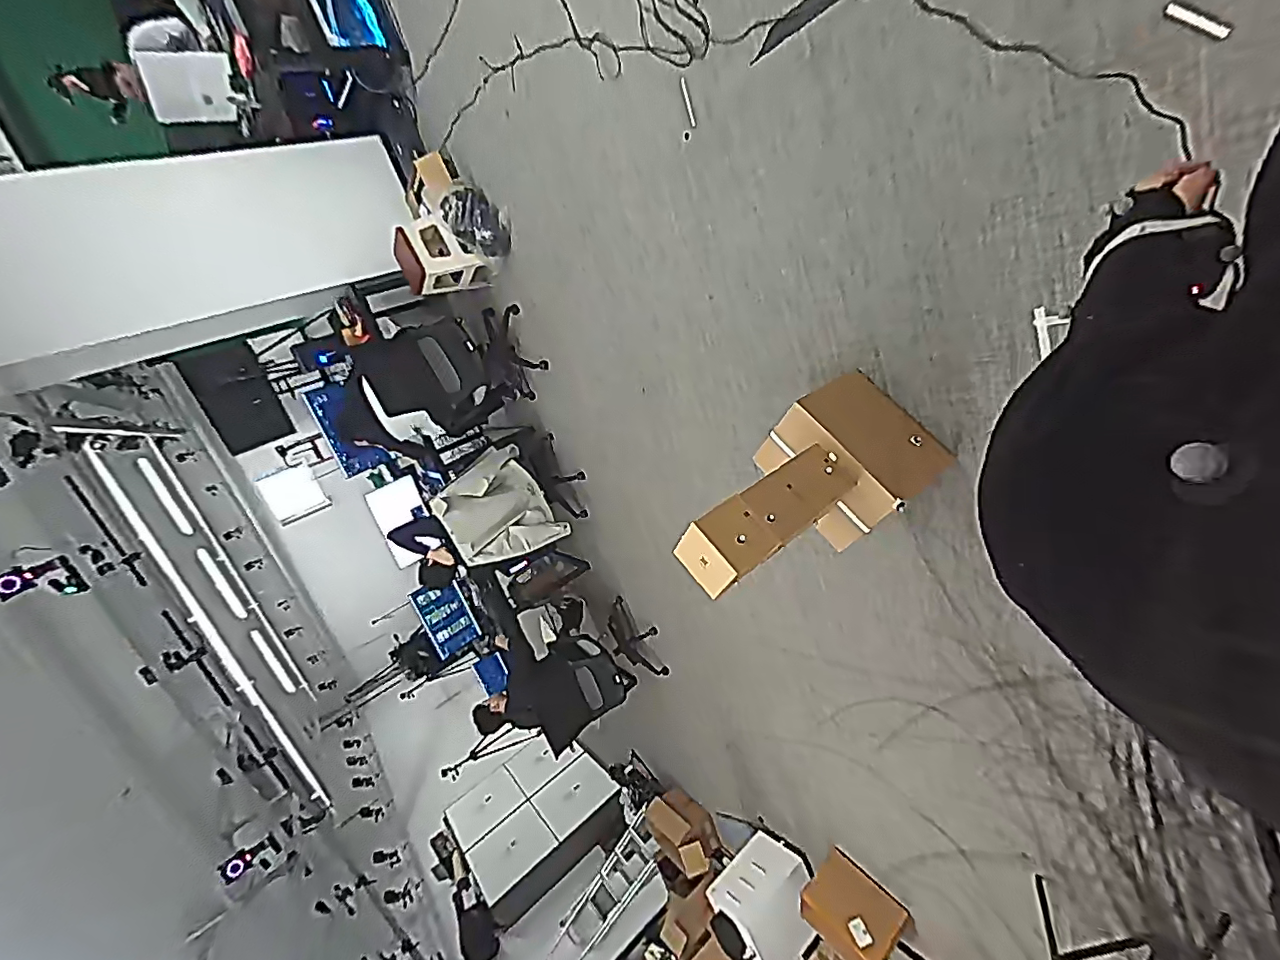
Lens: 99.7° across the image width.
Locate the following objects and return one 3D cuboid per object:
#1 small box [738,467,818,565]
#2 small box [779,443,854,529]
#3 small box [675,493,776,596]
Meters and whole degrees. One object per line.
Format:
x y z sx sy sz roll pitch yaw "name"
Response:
0.349 0.097 1.472 0.168 0.176 0.179 50 150 18 "small box"
0.474 0.025 1.548 0.168 0.176 0.179 50 149 19 "small box"
0.222 0.163 1.392 0.168 0.176 0.179 50 150 19 "small box"
